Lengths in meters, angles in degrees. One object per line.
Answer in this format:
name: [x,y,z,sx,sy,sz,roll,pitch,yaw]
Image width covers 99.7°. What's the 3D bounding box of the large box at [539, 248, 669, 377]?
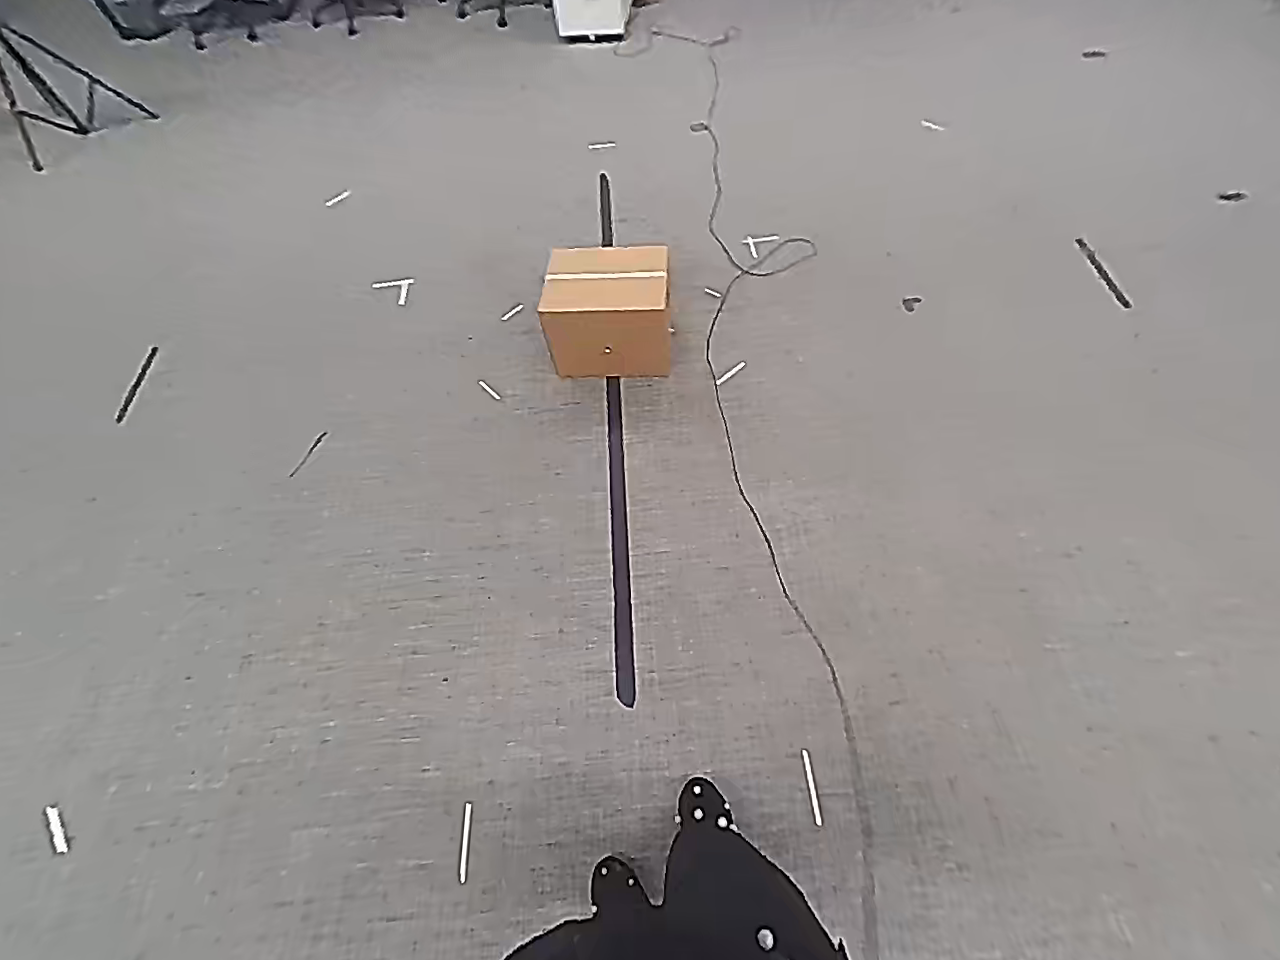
large box: [-0.106,-0.574,1.881,0.408,0.320,0.320,1,60,5]
